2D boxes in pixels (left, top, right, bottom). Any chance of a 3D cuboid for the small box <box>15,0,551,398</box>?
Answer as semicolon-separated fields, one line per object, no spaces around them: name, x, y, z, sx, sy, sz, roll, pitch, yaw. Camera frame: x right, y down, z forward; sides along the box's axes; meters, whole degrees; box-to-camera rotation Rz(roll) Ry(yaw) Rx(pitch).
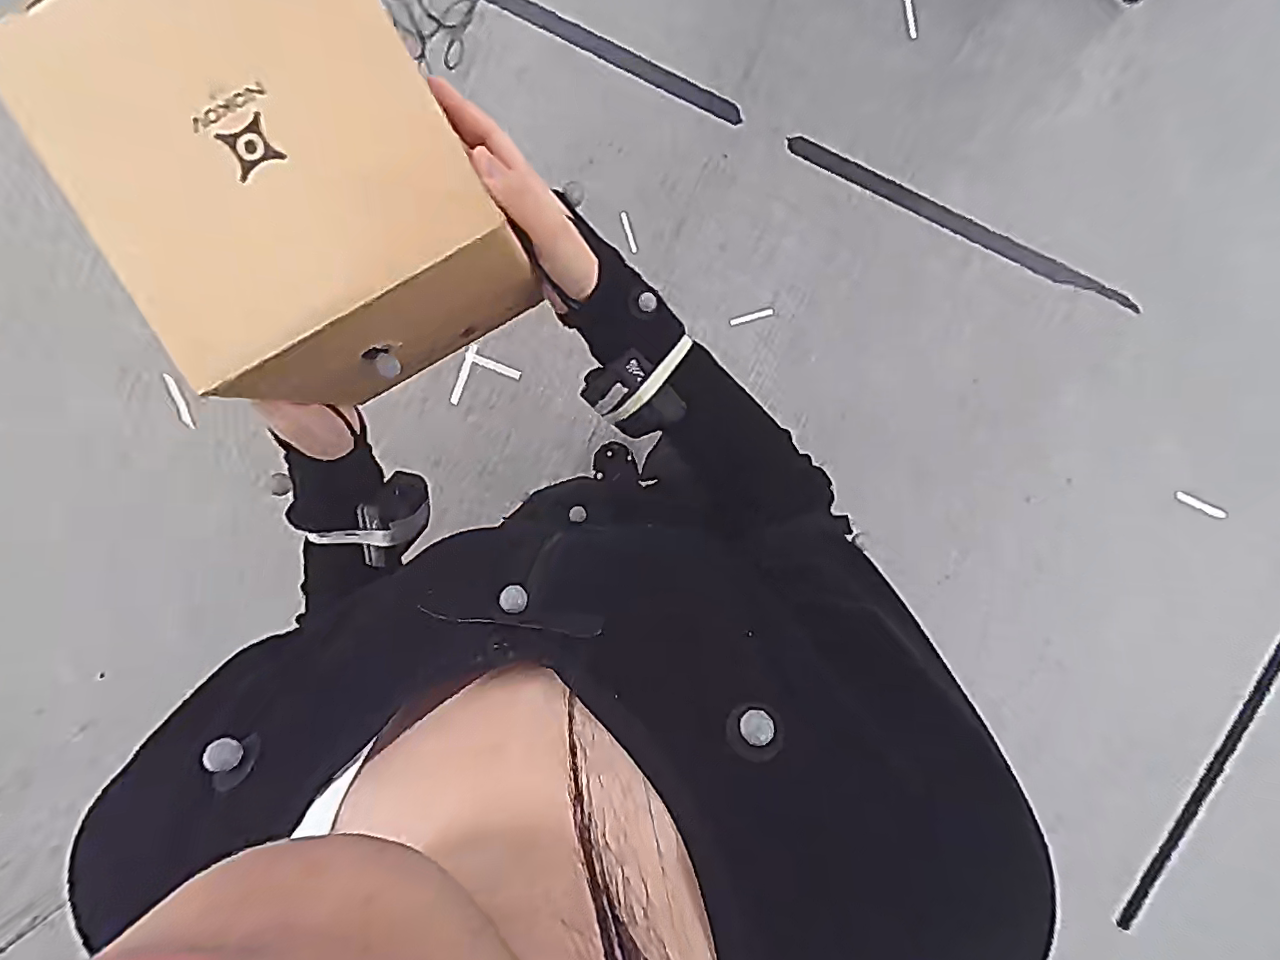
small box;-0.169;-0.162;0.327;0.168;0.176;0.179;-29;96;0

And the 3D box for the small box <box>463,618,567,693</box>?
small box;-0.242;0.378;0.995;0.168;0.176;0.179;19;96;-1

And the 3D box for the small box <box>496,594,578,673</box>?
small box;-0.240;0.370;1.157;0.168;0.176;0.179;21;94;-2
